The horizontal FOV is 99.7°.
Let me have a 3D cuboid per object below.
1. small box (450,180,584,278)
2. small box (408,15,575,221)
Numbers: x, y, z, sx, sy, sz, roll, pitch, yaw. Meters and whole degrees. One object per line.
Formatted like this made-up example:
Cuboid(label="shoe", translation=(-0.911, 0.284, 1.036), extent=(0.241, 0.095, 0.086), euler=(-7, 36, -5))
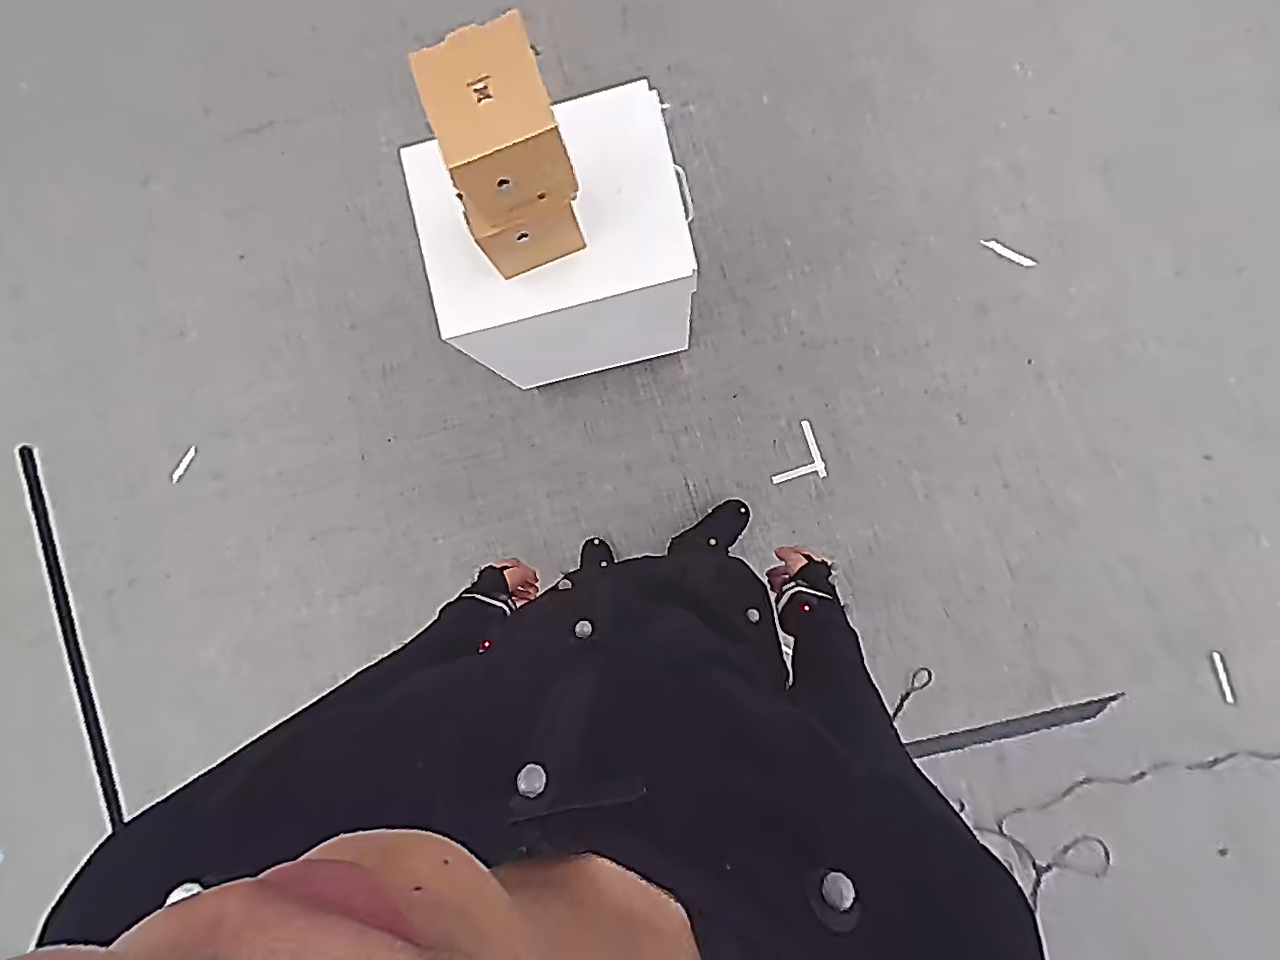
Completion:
Cuboid(label="small box", translation=(-0.218, -0.495, 0.977), extent=(0.179, 0.176, 0.168), euler=(-21, 88, 3))
Cuboid(label="small box", translation=(-0.209, -0.522, 0.814), extent=(0.168, 0.176, 0.179), euler=(-20, 87, 3))
